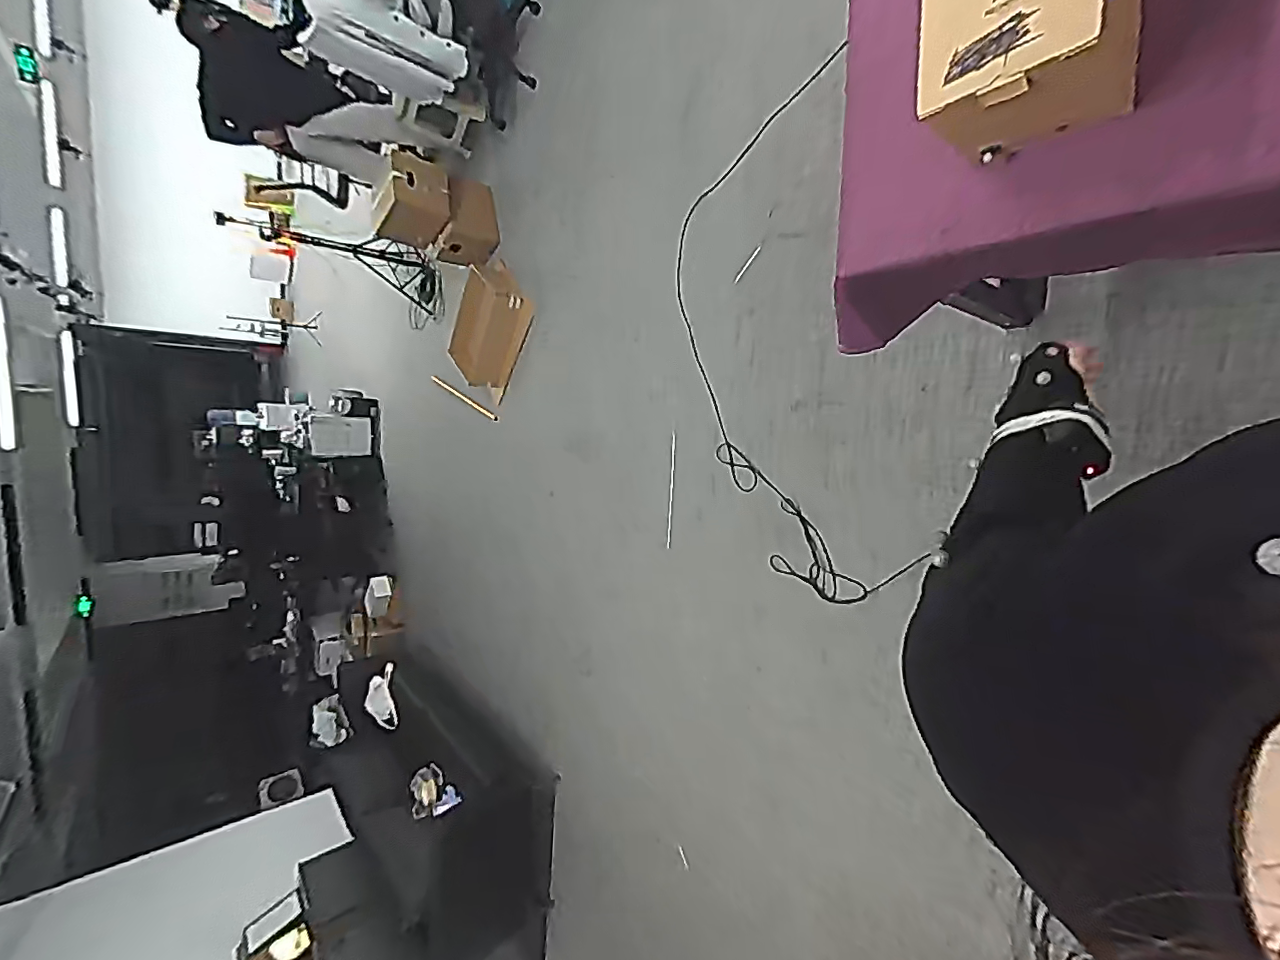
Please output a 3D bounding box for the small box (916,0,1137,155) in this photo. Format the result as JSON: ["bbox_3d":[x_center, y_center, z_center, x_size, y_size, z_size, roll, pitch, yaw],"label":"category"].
[{"bbox_3d":[0.435,-0.498,0.608,0.168,0.176,0.179,6,96,49],"label":"small box"}]
